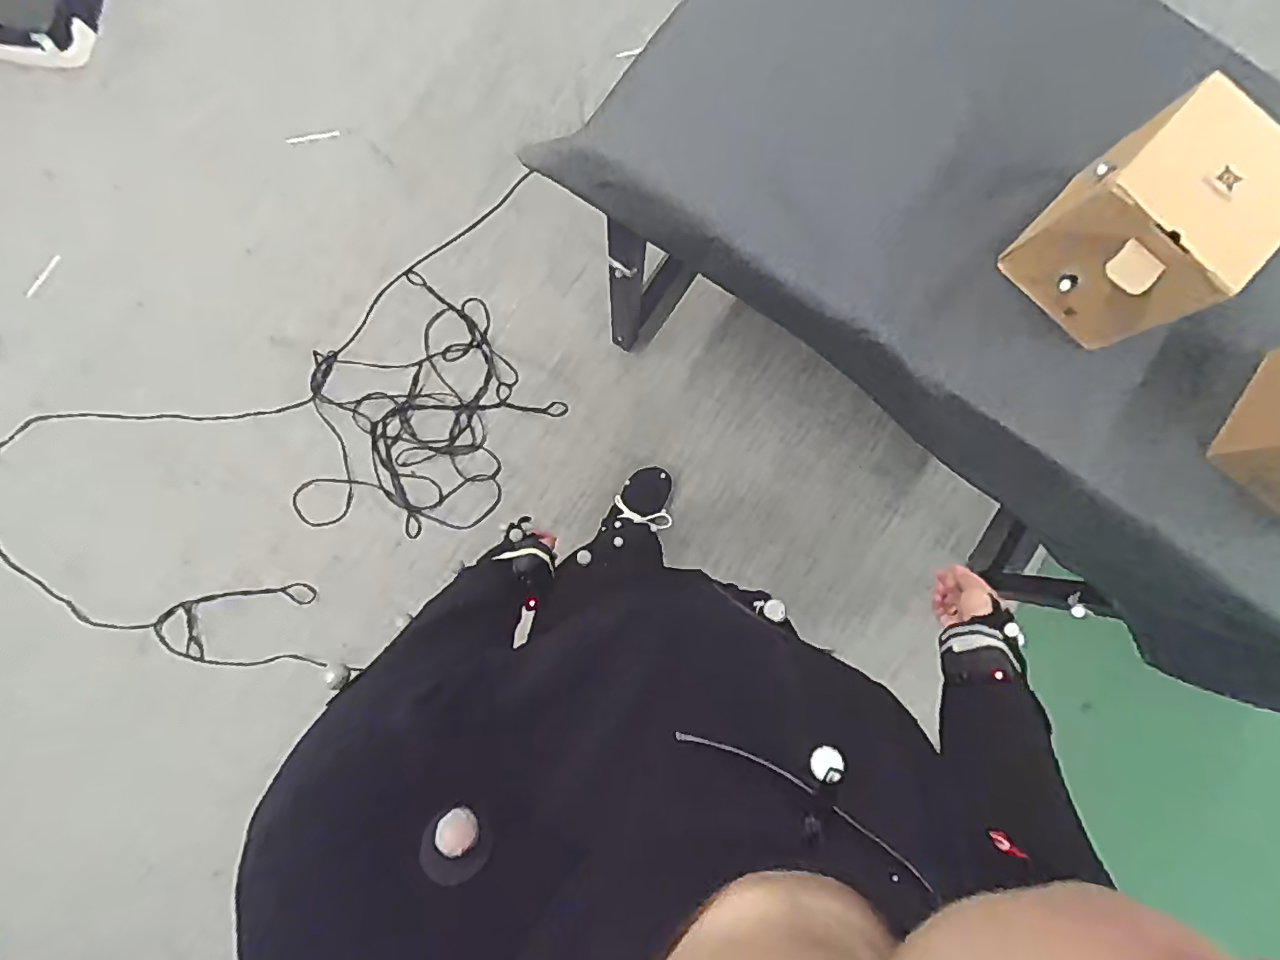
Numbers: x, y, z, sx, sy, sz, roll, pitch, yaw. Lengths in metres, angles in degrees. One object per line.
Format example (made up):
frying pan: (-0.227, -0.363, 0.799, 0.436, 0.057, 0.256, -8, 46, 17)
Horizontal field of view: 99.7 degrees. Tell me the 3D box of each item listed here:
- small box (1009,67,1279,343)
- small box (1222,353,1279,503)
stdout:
small box: (0.572, -0.288, 0.605, 0.168, 0.176, 0.179, 44, 85, 1)
small box: (0.822, -0.056, 0.595, 0.168, 0.176, 0.179, 36, 83, 0)
